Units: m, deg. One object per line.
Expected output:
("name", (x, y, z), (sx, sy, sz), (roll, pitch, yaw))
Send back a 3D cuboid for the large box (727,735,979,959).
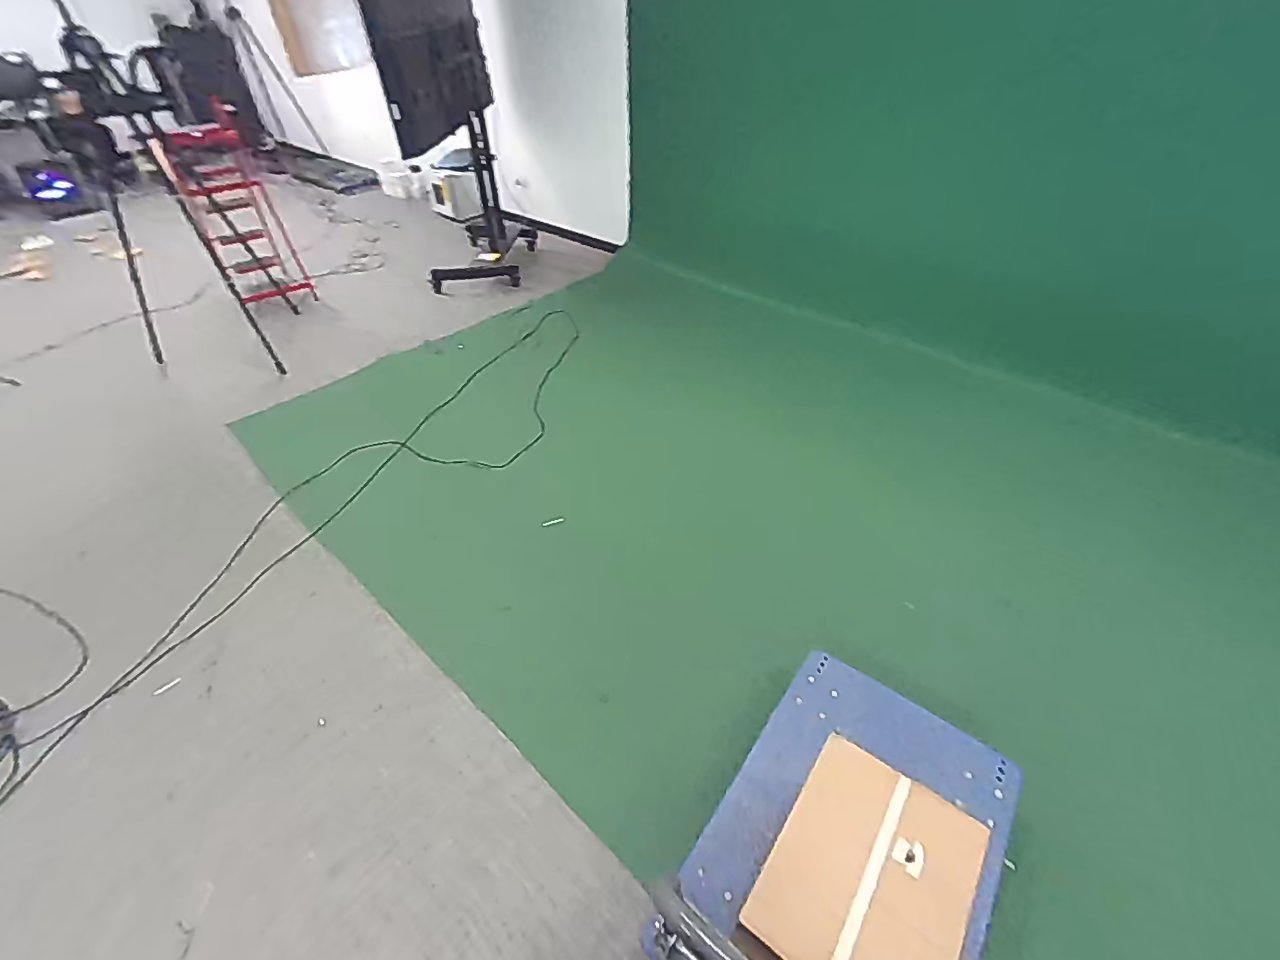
("large box", (0.408, 0.822, 1.071), (0.320, 0.320, 0.408), (27, 48, 28))
